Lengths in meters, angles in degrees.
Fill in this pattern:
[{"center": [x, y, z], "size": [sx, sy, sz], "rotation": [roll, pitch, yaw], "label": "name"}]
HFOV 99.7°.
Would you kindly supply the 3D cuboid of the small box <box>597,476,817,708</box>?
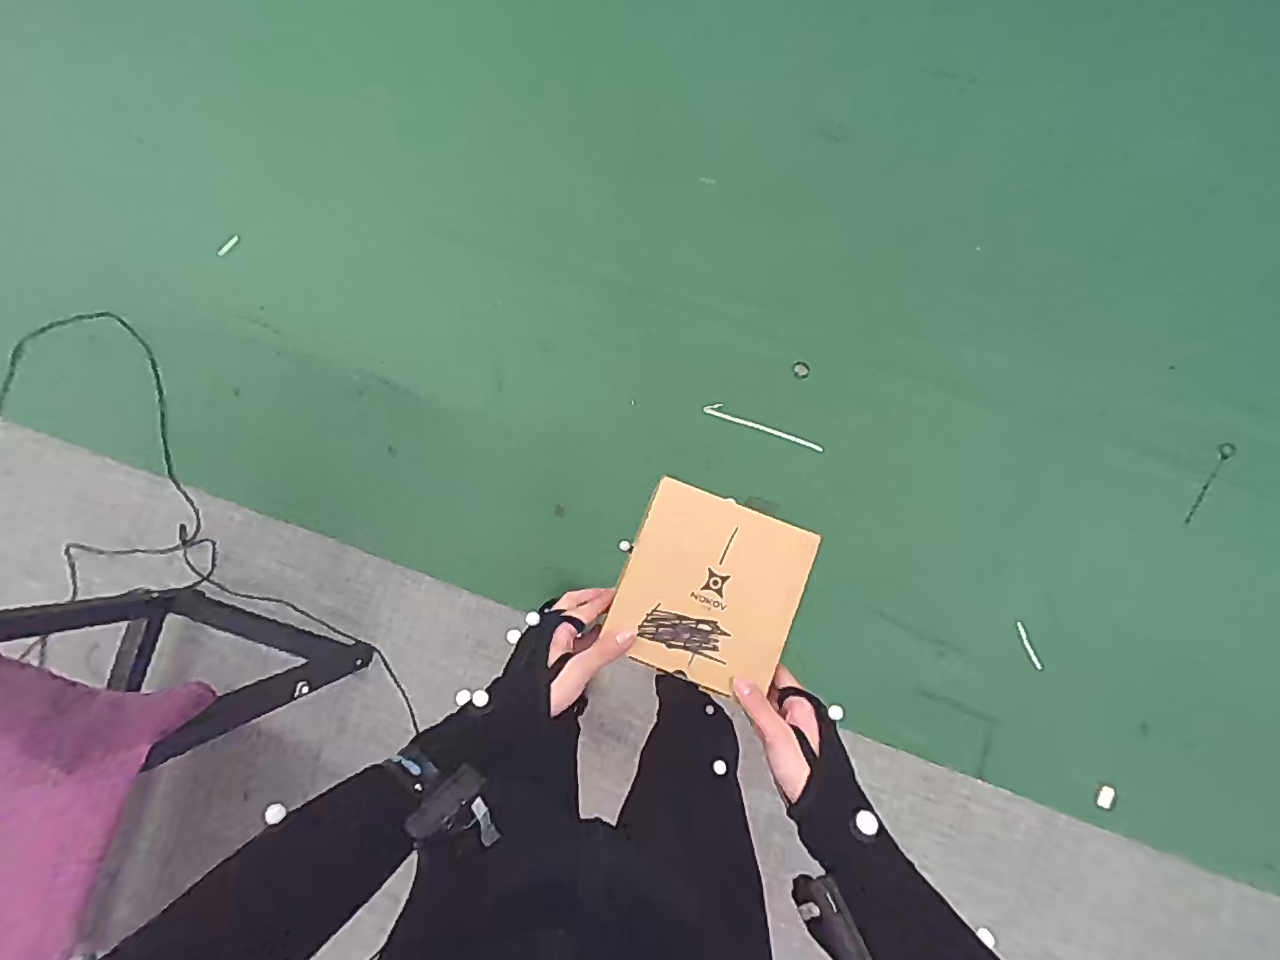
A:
[{"center": [0.064, 0.114, 0.594], "size": [0.168, 0.176, 0.179], "rotation": [22, 83, 1], "label": "small box"}]
